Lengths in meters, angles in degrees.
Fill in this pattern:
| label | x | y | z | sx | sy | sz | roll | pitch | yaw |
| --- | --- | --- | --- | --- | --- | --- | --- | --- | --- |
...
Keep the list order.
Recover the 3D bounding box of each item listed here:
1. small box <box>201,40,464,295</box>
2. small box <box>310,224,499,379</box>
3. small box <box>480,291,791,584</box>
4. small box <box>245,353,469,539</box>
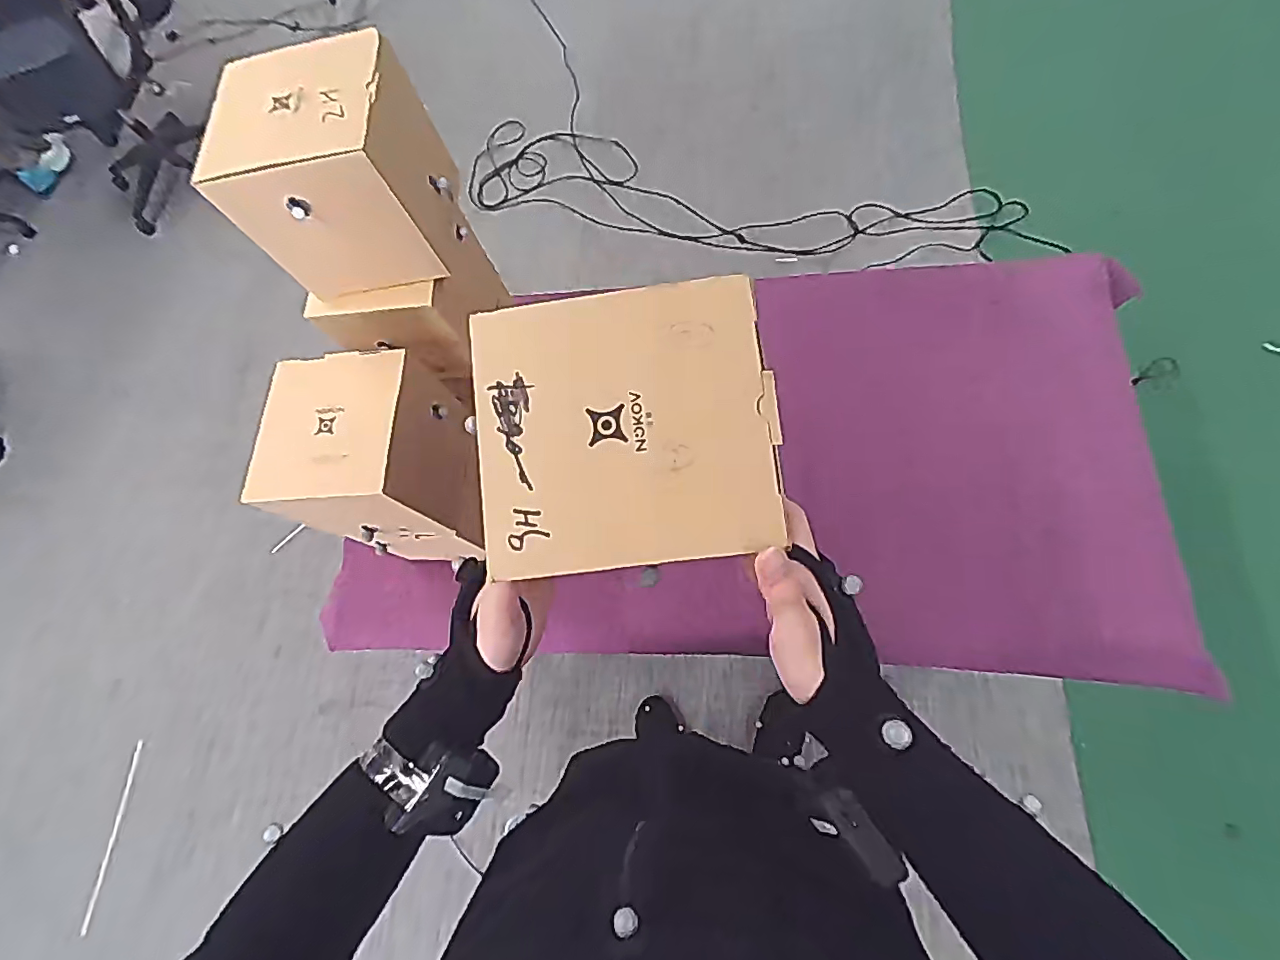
| label | x | y | z | sx | sy | sz | roll | pitch | yaw |
| --- | --- | --- | --- | --- | --- | --- | --- | --- | --- |
| small box | -0.317 | -0.326 | 0.595 | 0.179 | 0.176 | 0.168 | -6 | 70 | 6 |
| small box | -0.306 | -0.247 | 0.742 | 0.168 | 0.176 | 0.179 | -3 | 70 | 8 |
| small box | -0.003 | -0.017 | 0.399 | 0.179 | 0.176 | 0.168 | -6 | 81 | 2 |
| small box | -0.328 | -0.033 | 0.667 | 0.168 | 0.176 | 0.179 | -3 | 70 | 8 |
